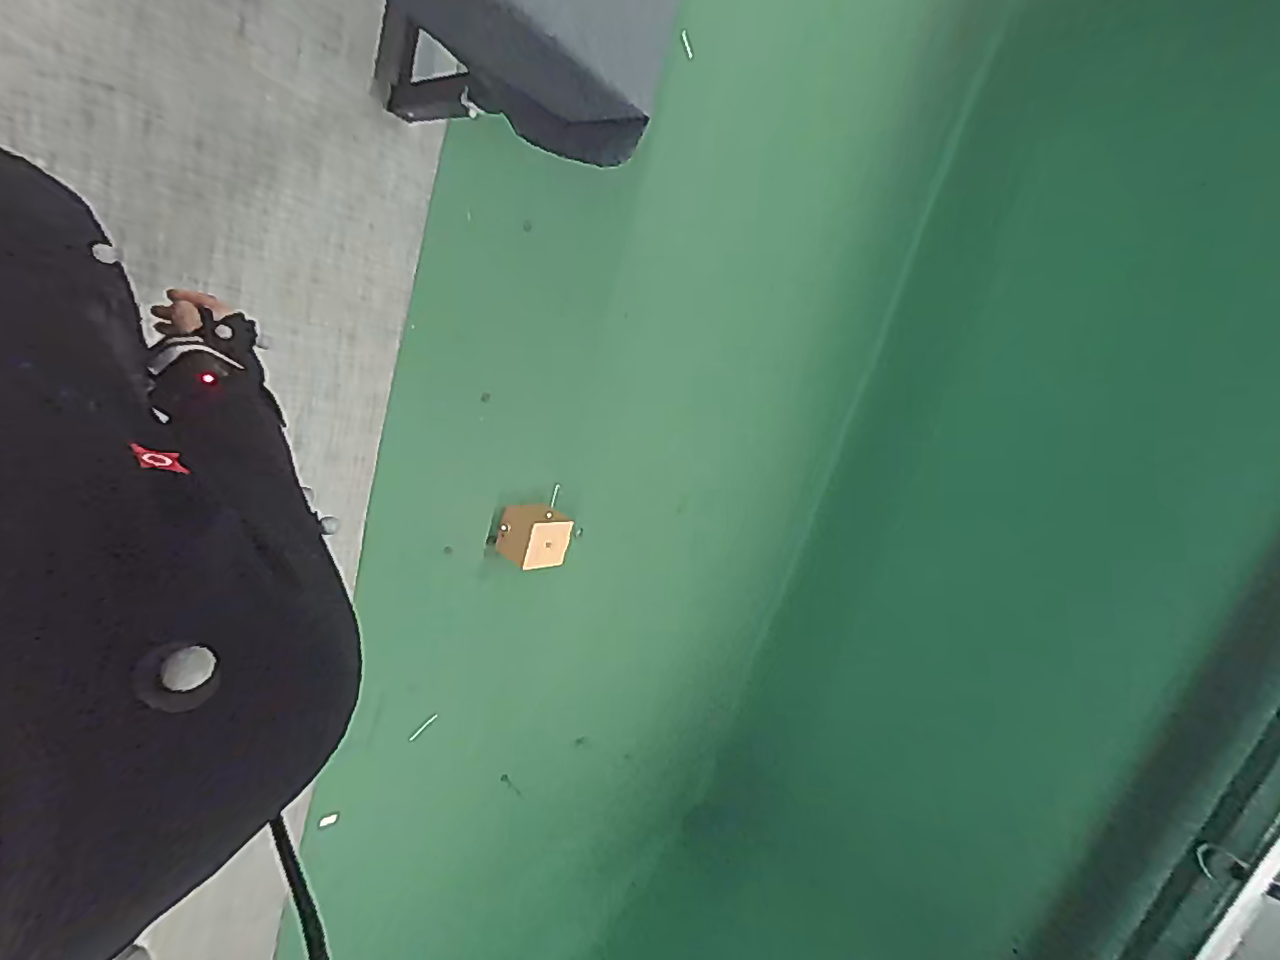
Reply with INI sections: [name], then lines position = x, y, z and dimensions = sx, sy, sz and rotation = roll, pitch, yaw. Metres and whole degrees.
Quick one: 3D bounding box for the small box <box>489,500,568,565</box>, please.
[small box]
position = -0.381, 0.171, 1.842
dimensions = 0.179, 0.176, 0.168
rotation = 1, 110, -51
